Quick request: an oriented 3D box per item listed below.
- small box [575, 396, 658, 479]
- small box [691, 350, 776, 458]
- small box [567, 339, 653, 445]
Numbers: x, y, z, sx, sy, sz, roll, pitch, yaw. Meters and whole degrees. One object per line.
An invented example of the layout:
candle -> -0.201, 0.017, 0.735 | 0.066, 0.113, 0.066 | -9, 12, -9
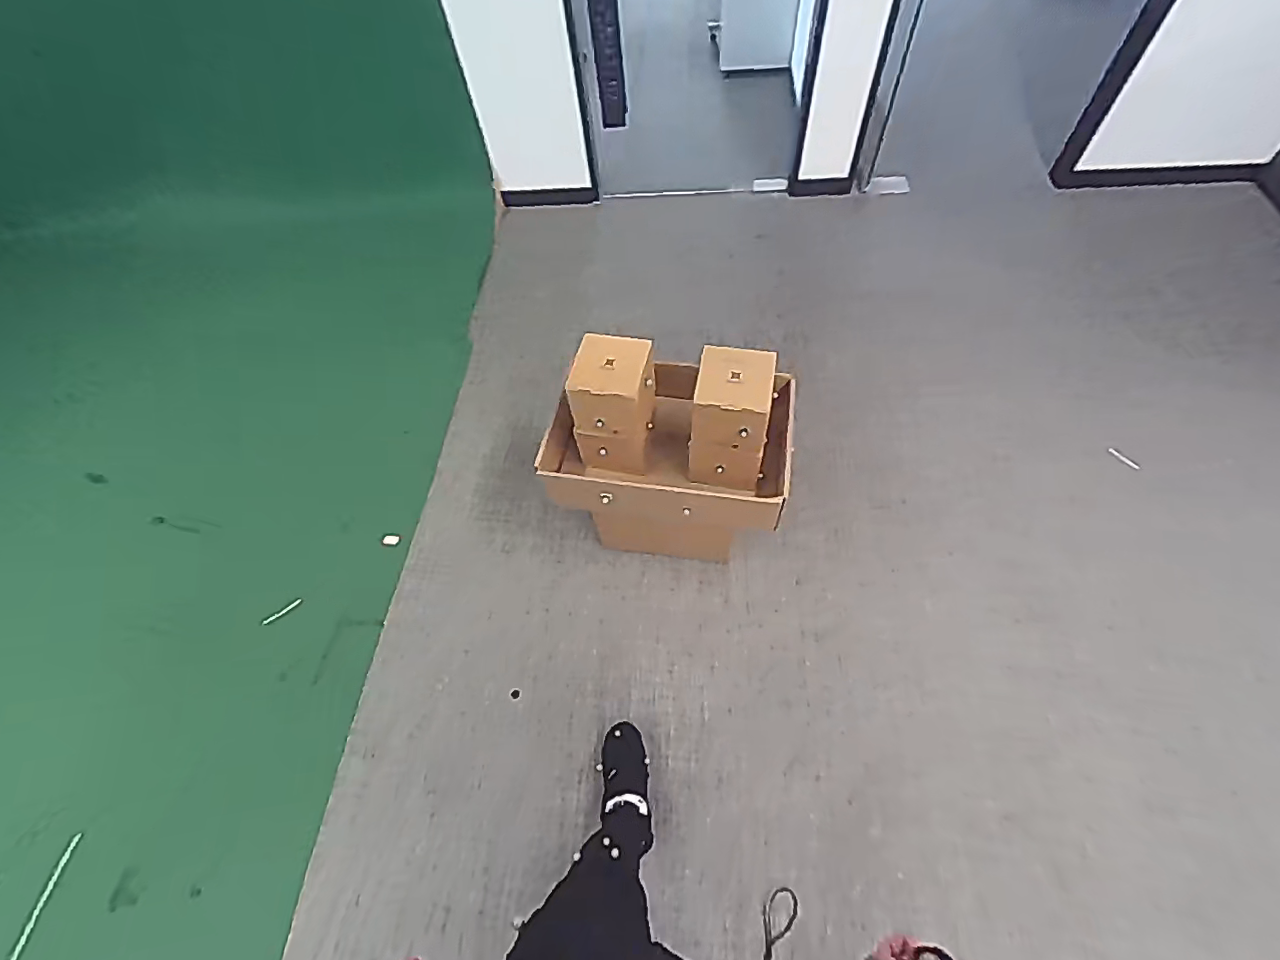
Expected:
small box -> -0.056, -0.121, 1.443 | 0.179, 0.176, 0.168 | 10, 60, 11
small box -> 0.214, -0.172, 1.253 | 0.168, 0.176, 0.179 | 9, 58, 9
small box -> -0.064, -0.210, 1.306 | 0.168, 0.176, 0.179 | 9, 59, 10
